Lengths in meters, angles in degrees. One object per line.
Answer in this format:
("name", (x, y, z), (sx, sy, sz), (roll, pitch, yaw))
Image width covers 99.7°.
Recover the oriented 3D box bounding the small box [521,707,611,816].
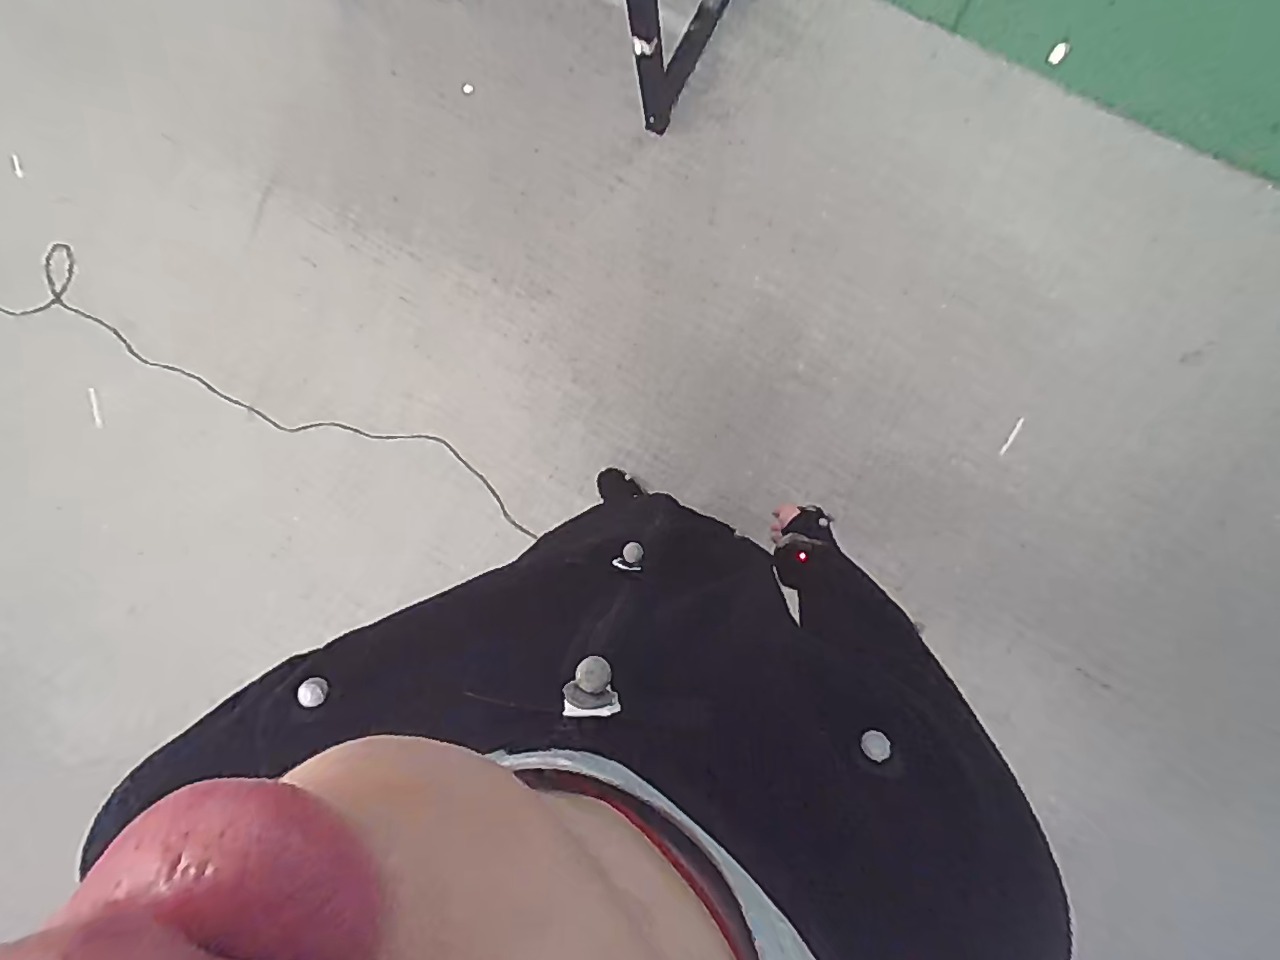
("small box", (-0.196, 0.776, 1.508), (0.168, 0.176, 0.179), (31, 92, 7))
